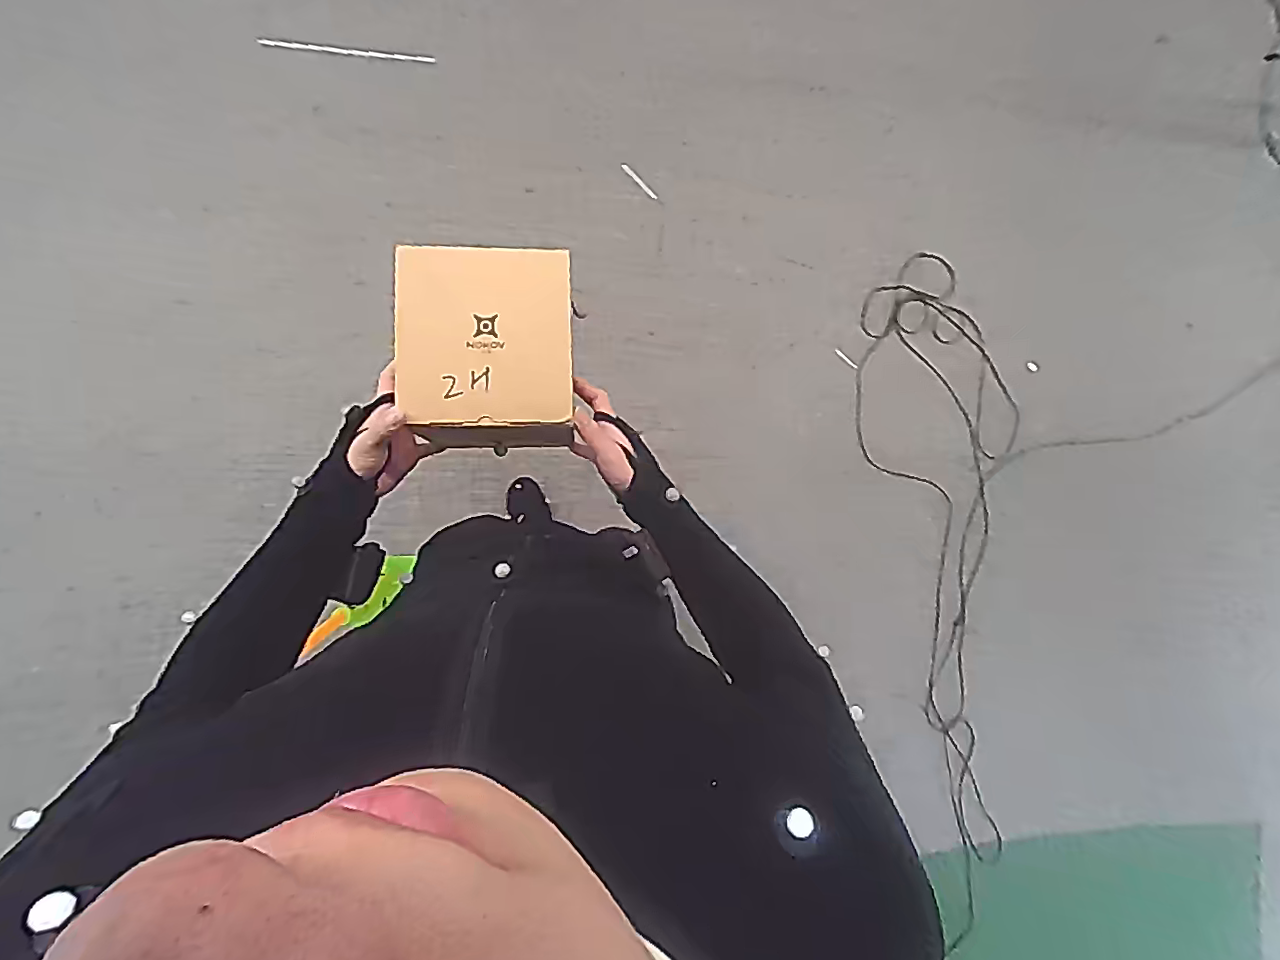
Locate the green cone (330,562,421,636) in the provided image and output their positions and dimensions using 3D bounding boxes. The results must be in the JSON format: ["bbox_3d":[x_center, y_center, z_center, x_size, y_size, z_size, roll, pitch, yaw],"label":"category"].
[{"bbox_3d":[-0.685,0.326,1.336,0.202,0.368,0.200,1,88,-11],"label":"green cone"}]
